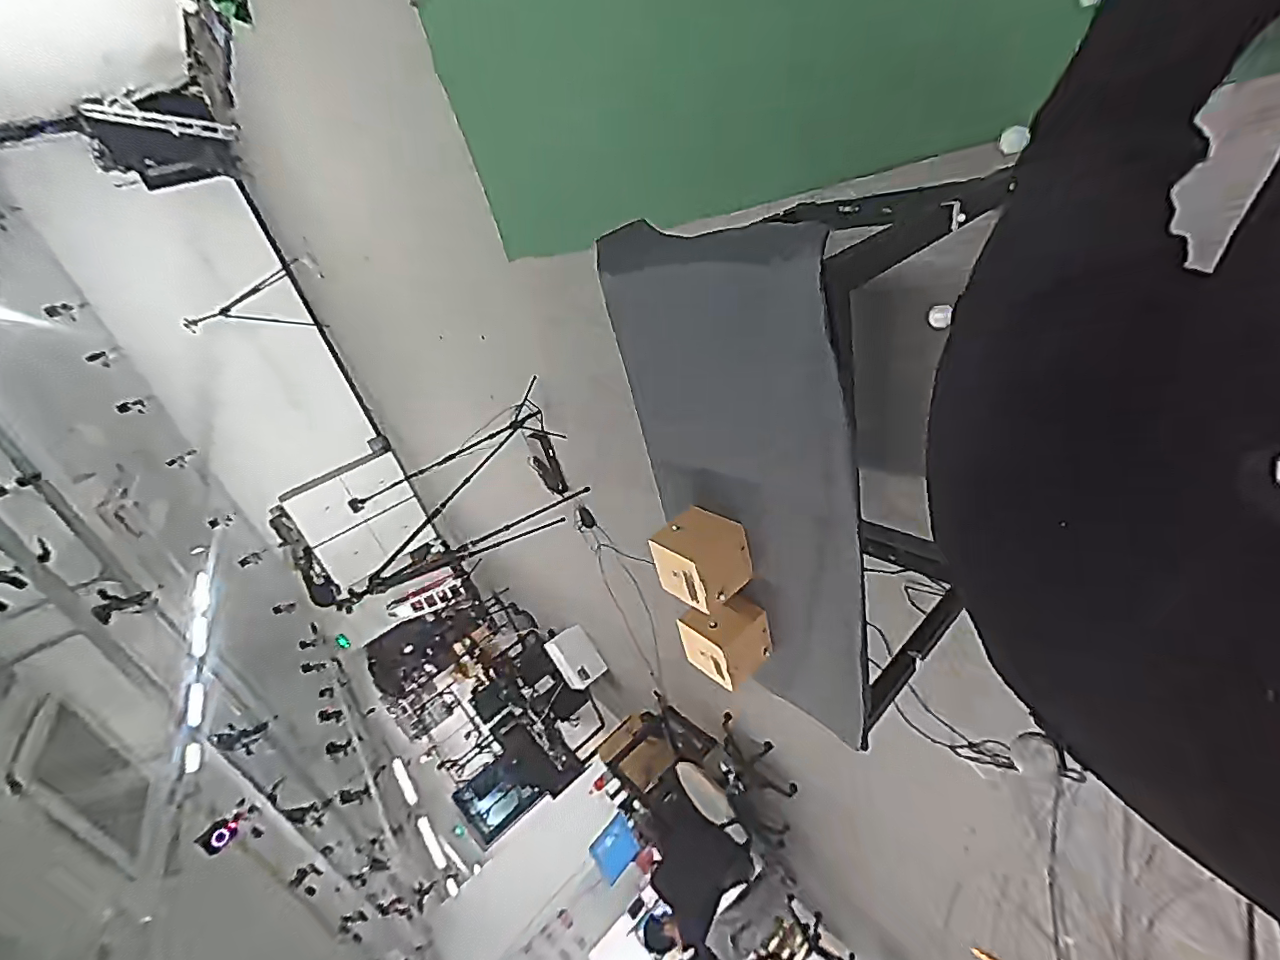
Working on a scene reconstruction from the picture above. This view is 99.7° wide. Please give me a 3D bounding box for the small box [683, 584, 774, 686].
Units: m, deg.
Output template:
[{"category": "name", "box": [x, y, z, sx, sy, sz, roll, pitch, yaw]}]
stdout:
[{"category": "small box", "box": [0.247, 0.411, 1.464, 0.179, 0.176, 0.168, 22, 136, 49]}]
